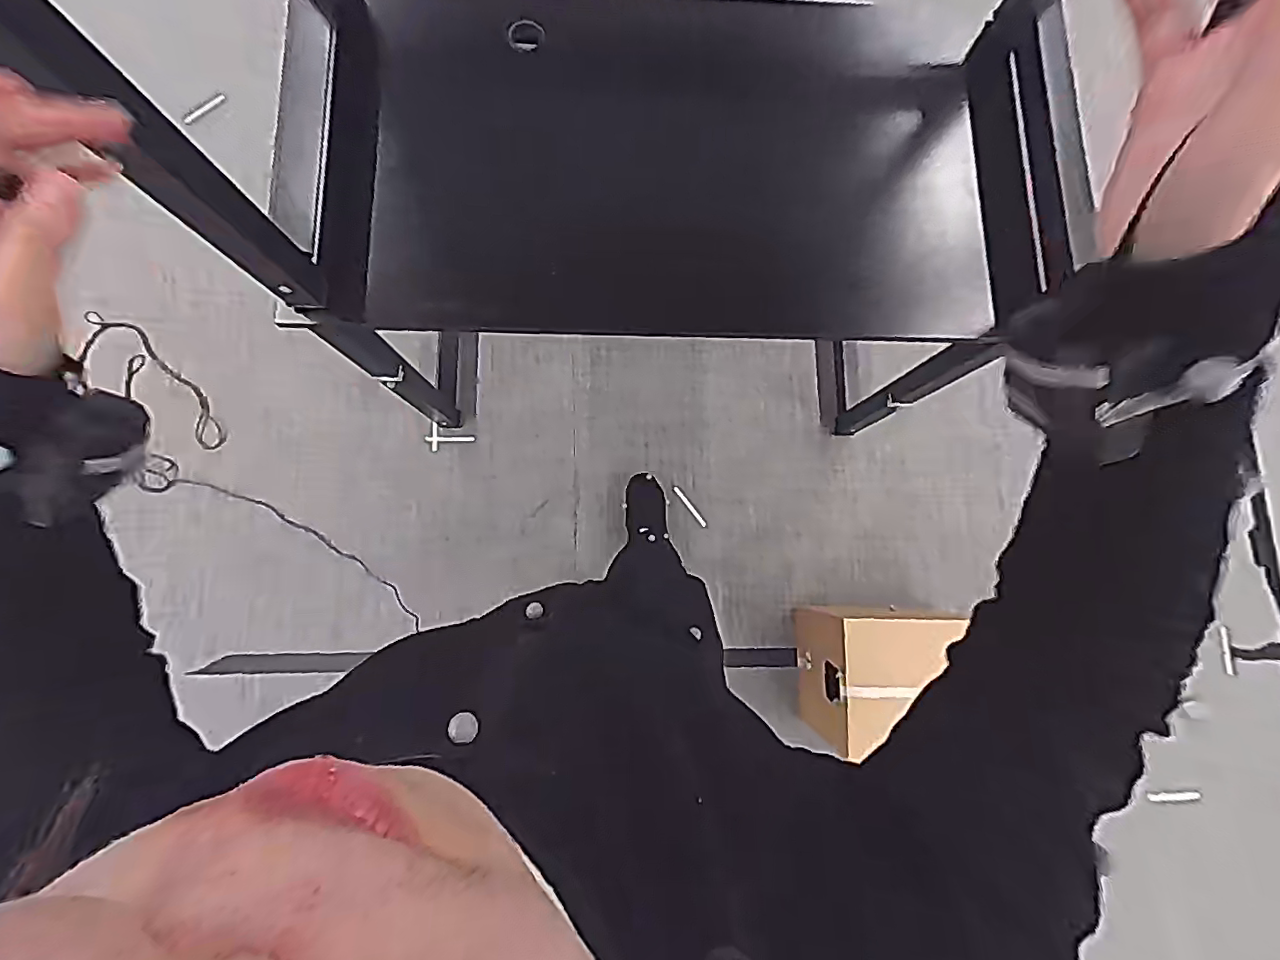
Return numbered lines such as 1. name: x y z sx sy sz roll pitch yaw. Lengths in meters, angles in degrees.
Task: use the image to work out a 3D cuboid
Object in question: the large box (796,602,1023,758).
1. large box: 0.637 0.471 1.343 0.408 0.320 0.320 1 83 -4
